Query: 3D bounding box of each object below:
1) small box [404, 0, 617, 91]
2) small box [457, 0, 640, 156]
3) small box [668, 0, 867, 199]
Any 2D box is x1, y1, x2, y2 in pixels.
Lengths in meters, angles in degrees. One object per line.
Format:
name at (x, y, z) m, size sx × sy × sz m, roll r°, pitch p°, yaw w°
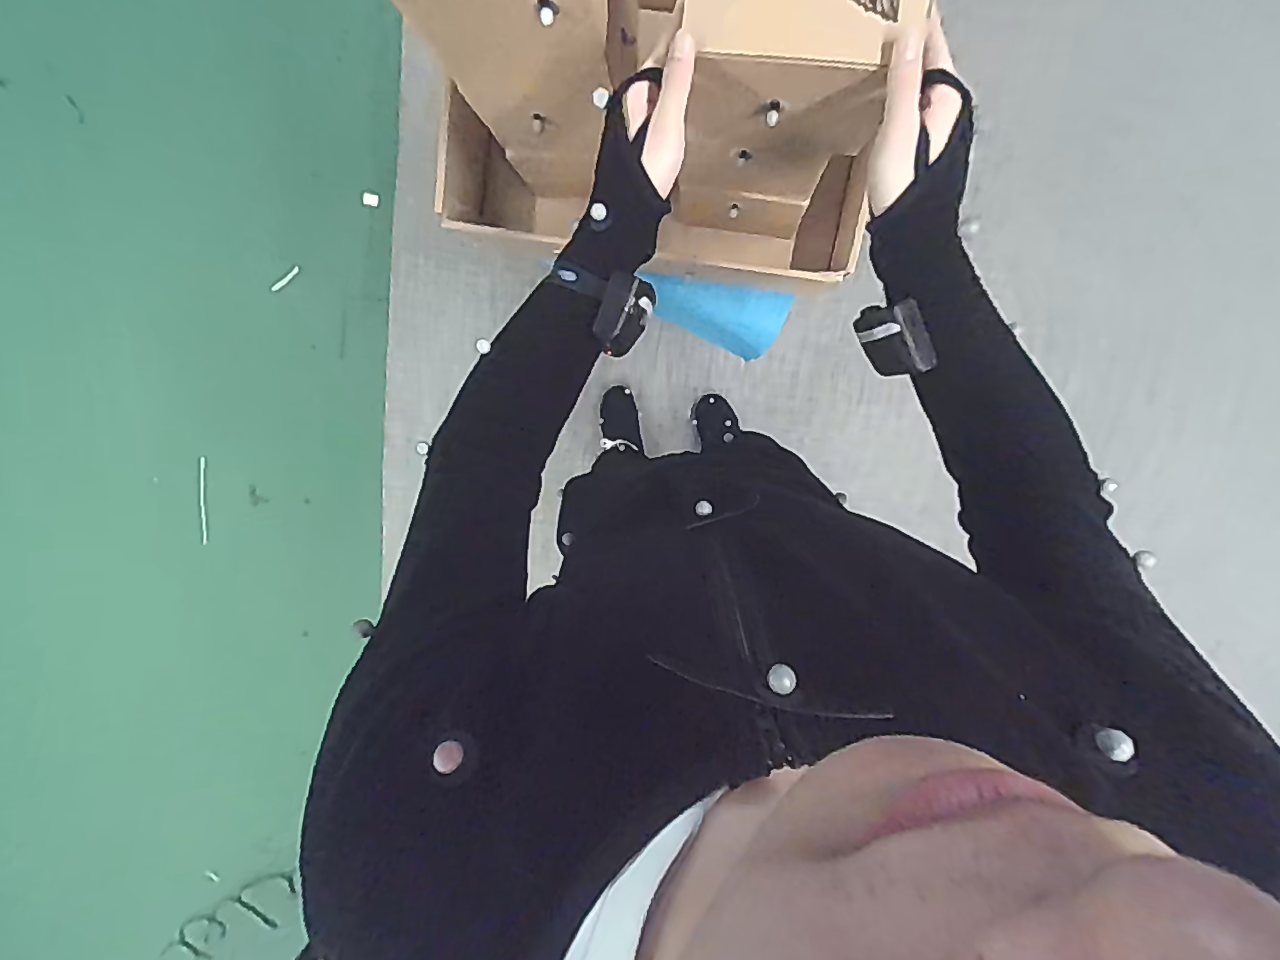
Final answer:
small box at (-0.115, -0.480, 0.481) m, size 0.179 × 0.176 × 0.168 m, roll 4°, pitch 101°, yaw 2°
small box at (-0.099, -0.508, 0.642) m, size 0.179 × 0.176 × 0.168 m, roll 5°, pitch 101°, yaw 3°
small box at (0.139, -0.445, 0.623) m, size 0.179 × 0.176 × 0.168 m, roll 12°, pitch 102°, yaw 6°
